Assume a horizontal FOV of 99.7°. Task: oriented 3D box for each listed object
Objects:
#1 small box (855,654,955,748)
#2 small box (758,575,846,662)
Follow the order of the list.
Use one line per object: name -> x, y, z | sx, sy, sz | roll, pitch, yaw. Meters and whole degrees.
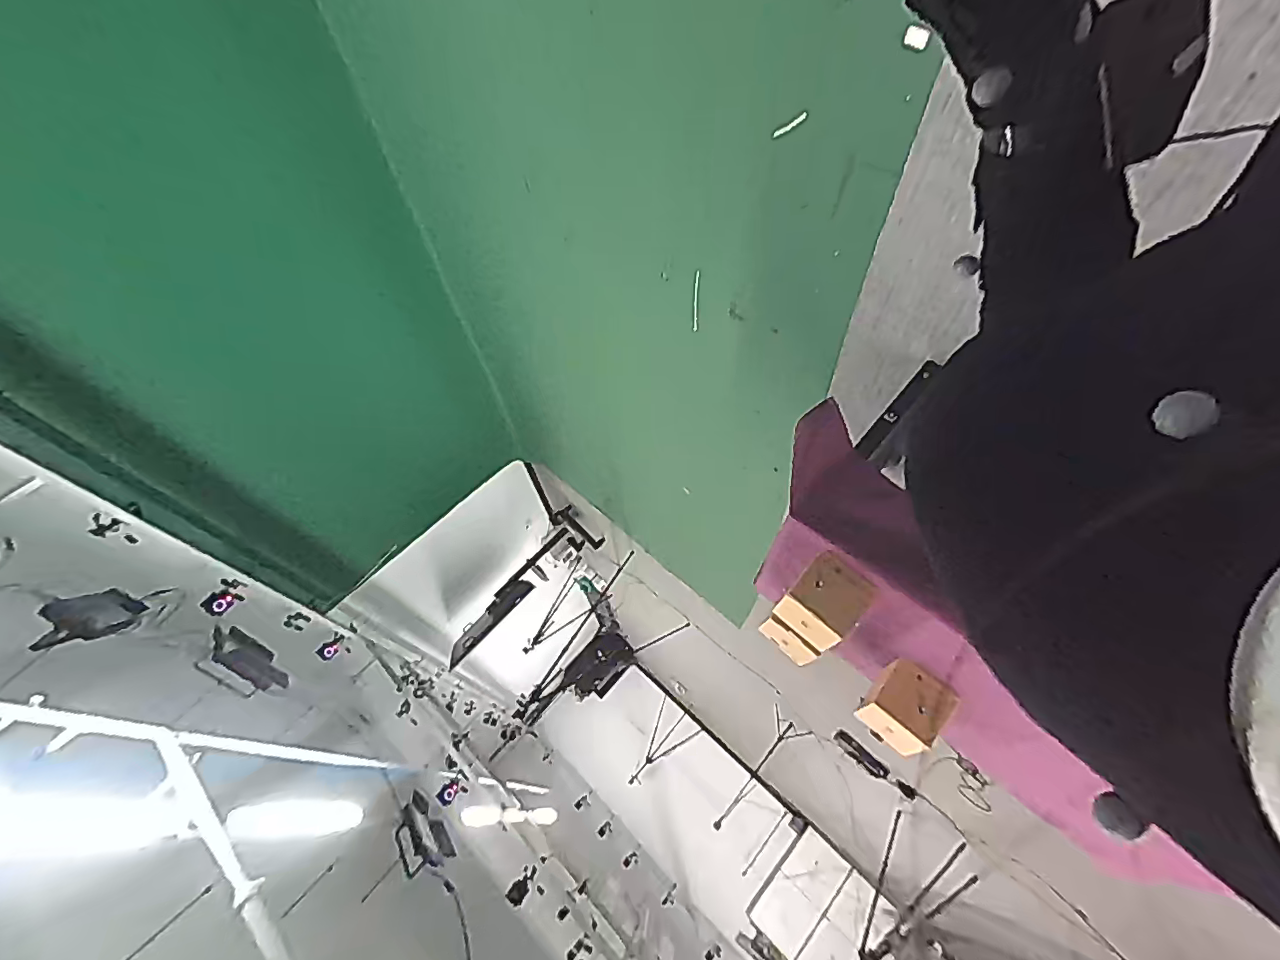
small box -> 0.734, 0.609, 1.496 | 0.168, 0.176, 0.179 | 37, 159, 22
small box -> 0.481, 0.407, 1.599 | 0.168, 0.176, 0.179 | 40, 158, 16
